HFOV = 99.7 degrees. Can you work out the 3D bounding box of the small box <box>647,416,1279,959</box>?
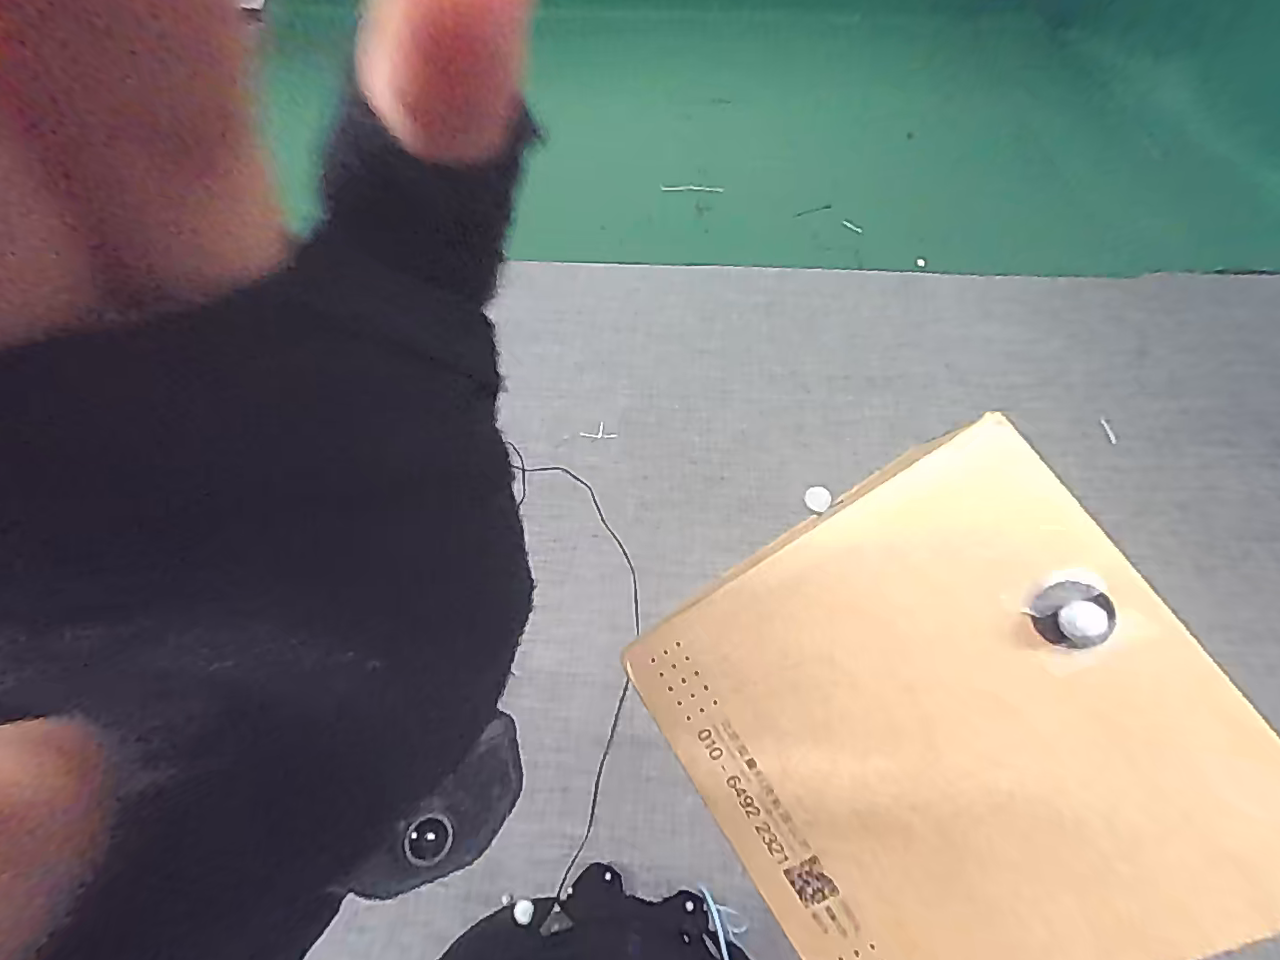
[{"bbox_3d":[0.128,0.092,0.275,0.176,0.179,0.168,-37,78,16],"label":"small box"}]
